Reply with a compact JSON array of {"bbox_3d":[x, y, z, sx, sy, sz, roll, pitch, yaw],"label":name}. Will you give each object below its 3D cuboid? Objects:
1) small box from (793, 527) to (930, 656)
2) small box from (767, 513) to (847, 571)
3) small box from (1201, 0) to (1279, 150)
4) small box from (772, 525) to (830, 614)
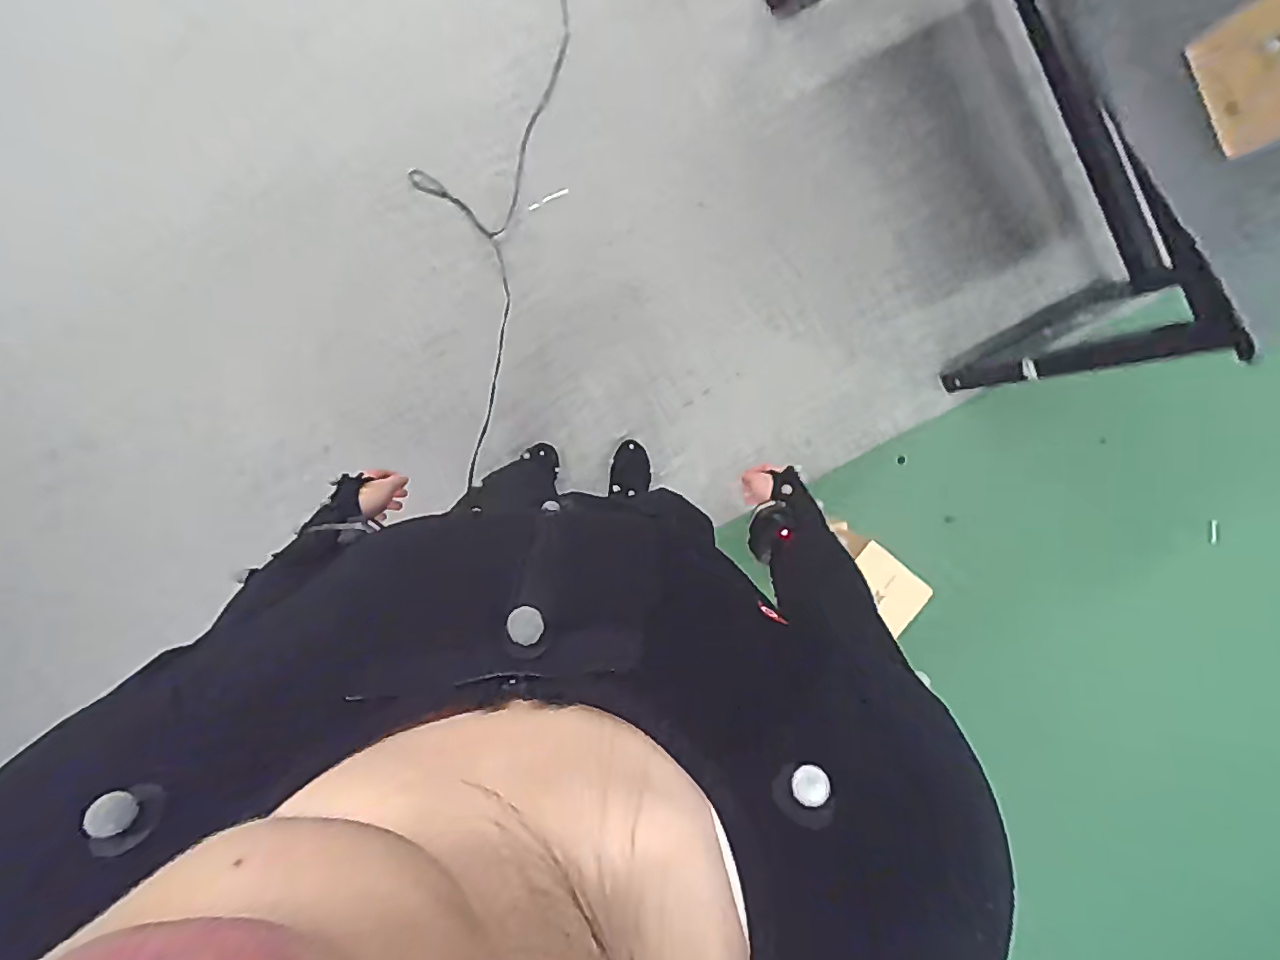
[{"bbox_3d":[0.440,0.219,1.114,0.168,0.176,0.179,40,91,-4],"label":"small box"},{"bbox_3d":[0.447,0.190,1.440,0.168,0.176,0.179,-11,95,-1],"label":"small box"},{"bbox_3d":[0.869,-0.558,0.674,0.179,0.176,0.168,-28,95,-2],"label":"small box"},{"bbox_3d":[0.424,0.211,1.278,0.168,0.176,0.179,10,94,-2],"label":"small box"}]
